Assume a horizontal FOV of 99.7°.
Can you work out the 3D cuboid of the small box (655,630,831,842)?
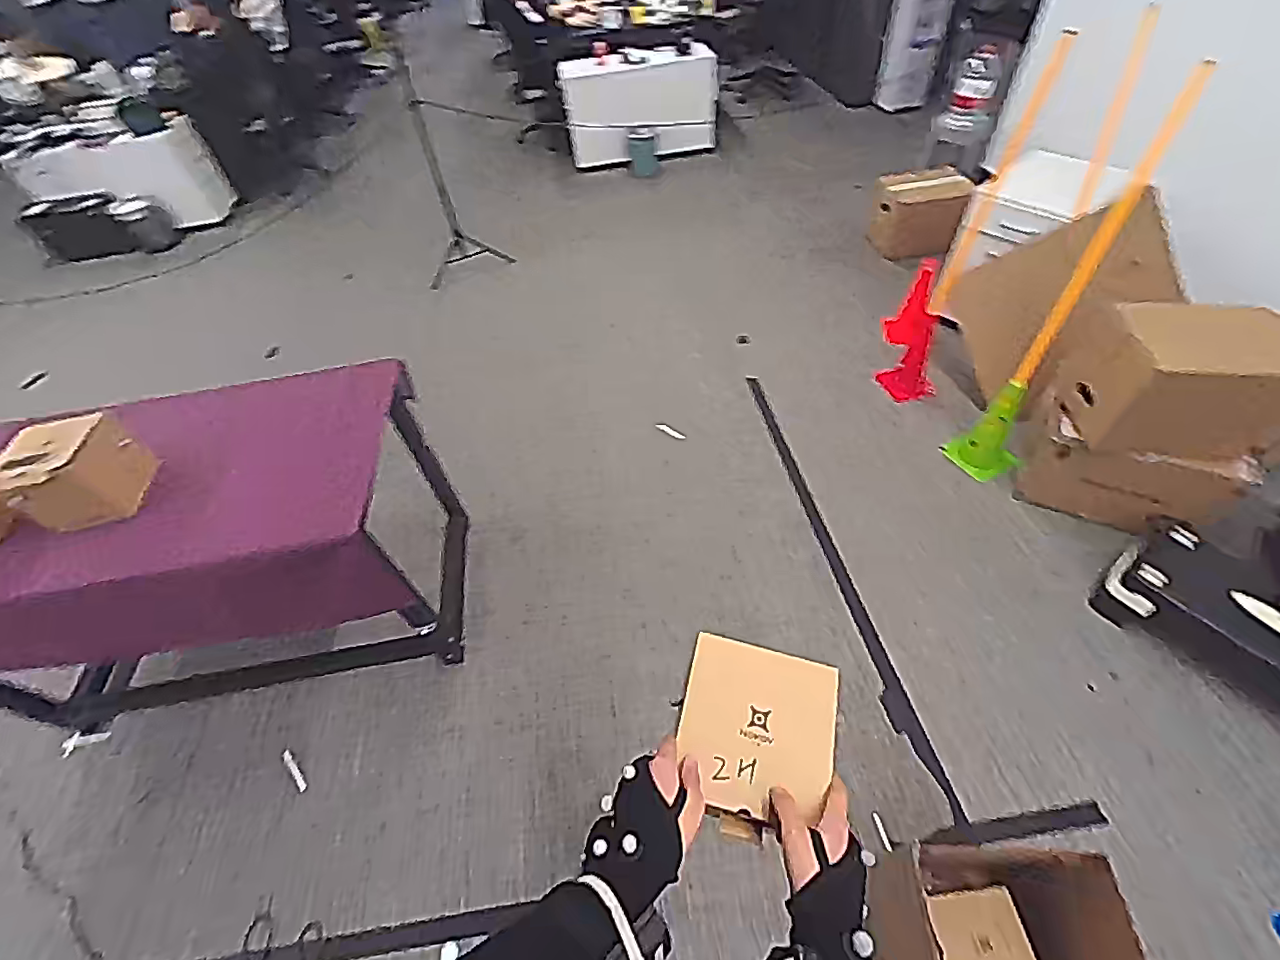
[{"bbox_3d":[0.116,0.306,0.645,0.168,0.176,0.179,13,59,8],"label":"small box"}]

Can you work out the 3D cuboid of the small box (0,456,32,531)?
[{"bbox_3d":[-1.498,0.025,1.166,0.168,0.176,0.179,-16,50,-8],"label":"small box"}]
